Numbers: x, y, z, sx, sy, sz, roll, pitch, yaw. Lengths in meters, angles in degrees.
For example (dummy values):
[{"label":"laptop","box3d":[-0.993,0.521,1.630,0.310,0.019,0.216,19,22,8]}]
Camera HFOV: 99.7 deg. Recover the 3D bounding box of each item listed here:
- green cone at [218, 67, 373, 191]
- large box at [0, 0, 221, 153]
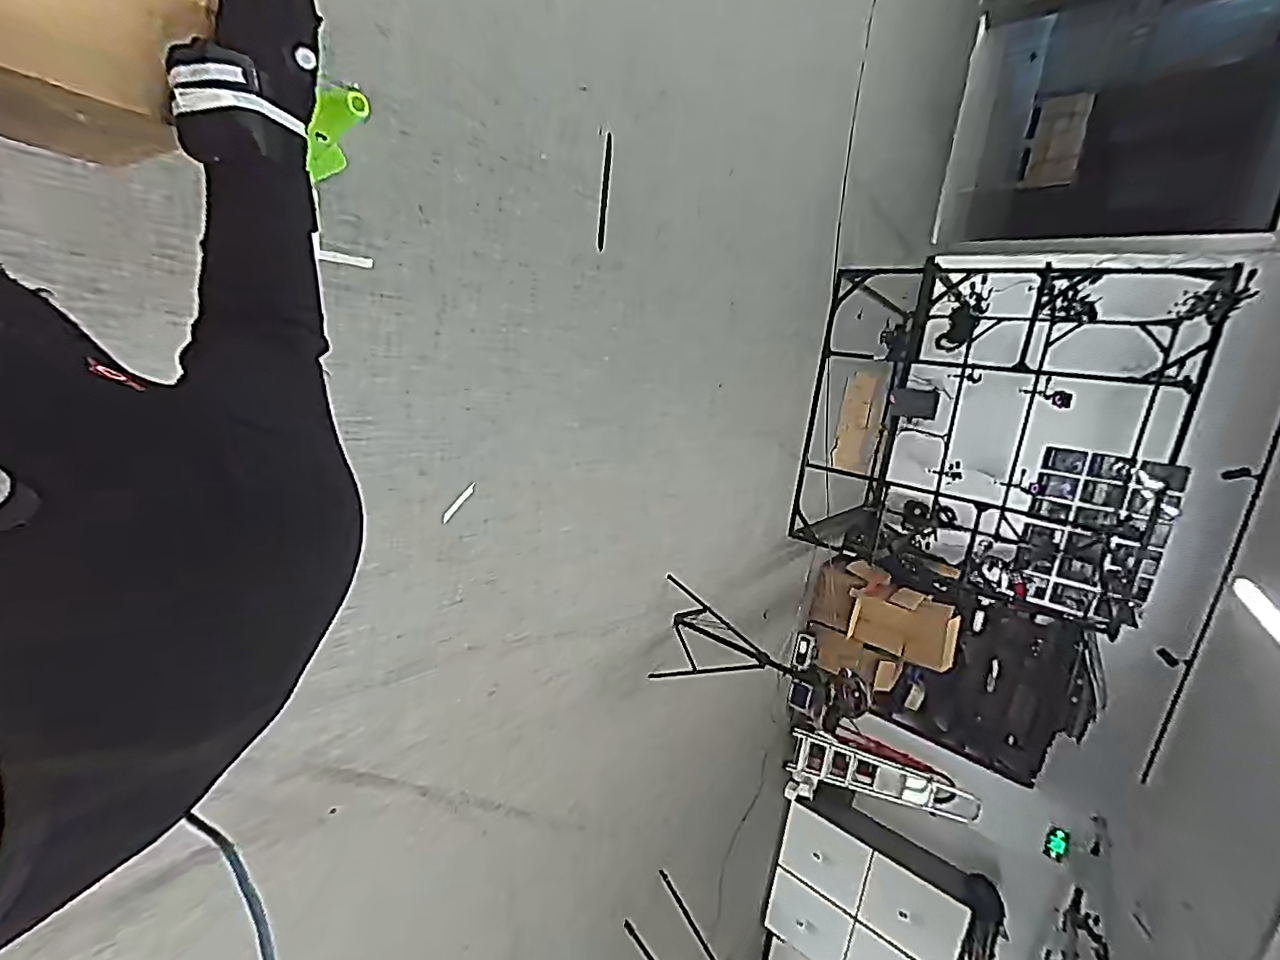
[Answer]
[{"label":"green cone","box3d":[-0.659,-0.739,1.104,0.202,0.368,0.200,-51,139,-31]},{"label":"large box","box3d":[-0.529,-0.429,0.294,0.408,0.320,0.320,-9,112,-53]}]
